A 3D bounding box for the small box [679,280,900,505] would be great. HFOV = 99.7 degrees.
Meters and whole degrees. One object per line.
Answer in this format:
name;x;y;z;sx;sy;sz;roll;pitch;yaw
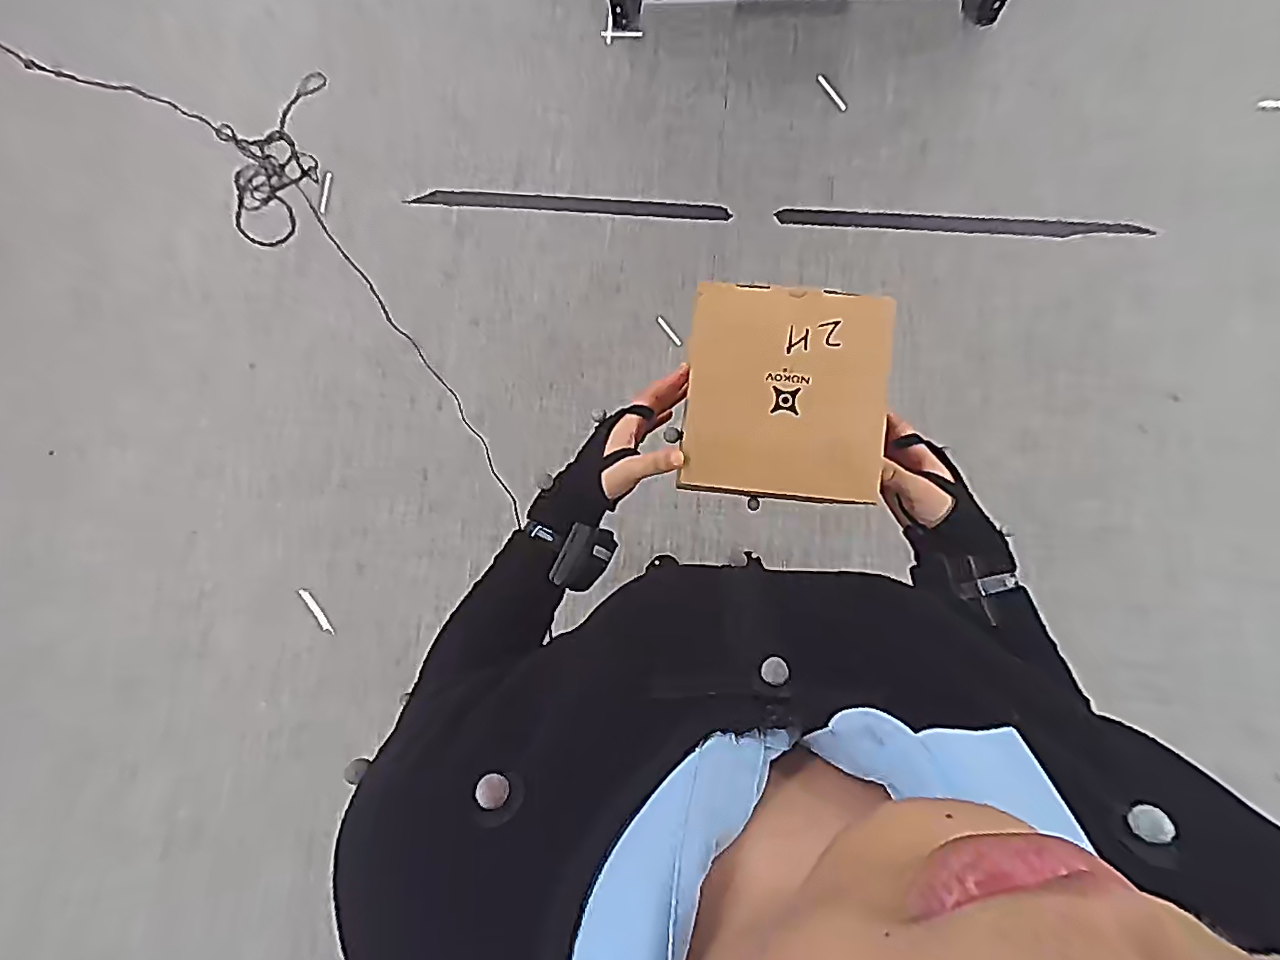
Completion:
small box;0.129;-0.071;0.527;0.168;0.176;0.179;6;88;3
